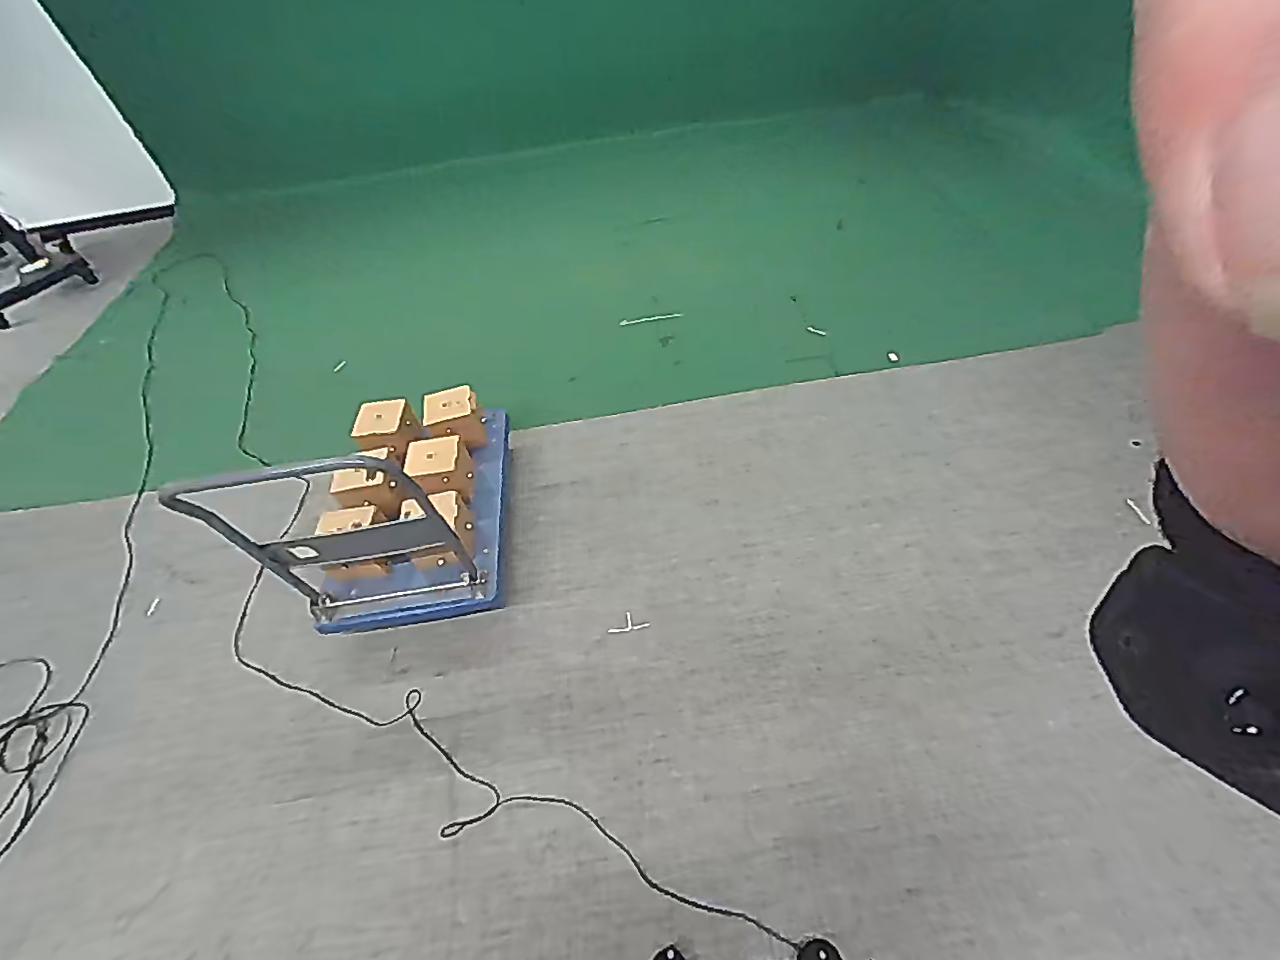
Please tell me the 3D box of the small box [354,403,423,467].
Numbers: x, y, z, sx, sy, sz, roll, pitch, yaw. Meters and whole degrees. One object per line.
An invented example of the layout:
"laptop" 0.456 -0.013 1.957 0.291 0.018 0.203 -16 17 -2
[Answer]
"small box" -0.936 -0.163 2.033 0.168 0.176 0.179 -6 50 1

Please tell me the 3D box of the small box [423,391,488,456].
"small box" -0.687 -0.206 2.031 0.179 0.176 0.168 -8 53 -1

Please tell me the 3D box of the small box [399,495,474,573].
"small box" -0.637 0.174 1.715 0.179 0.176 0.168 -11 50 -2

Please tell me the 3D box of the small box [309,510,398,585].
"small box" -0.897 0.216 1.714 0.179 0.176 0.168 -7 50 2
